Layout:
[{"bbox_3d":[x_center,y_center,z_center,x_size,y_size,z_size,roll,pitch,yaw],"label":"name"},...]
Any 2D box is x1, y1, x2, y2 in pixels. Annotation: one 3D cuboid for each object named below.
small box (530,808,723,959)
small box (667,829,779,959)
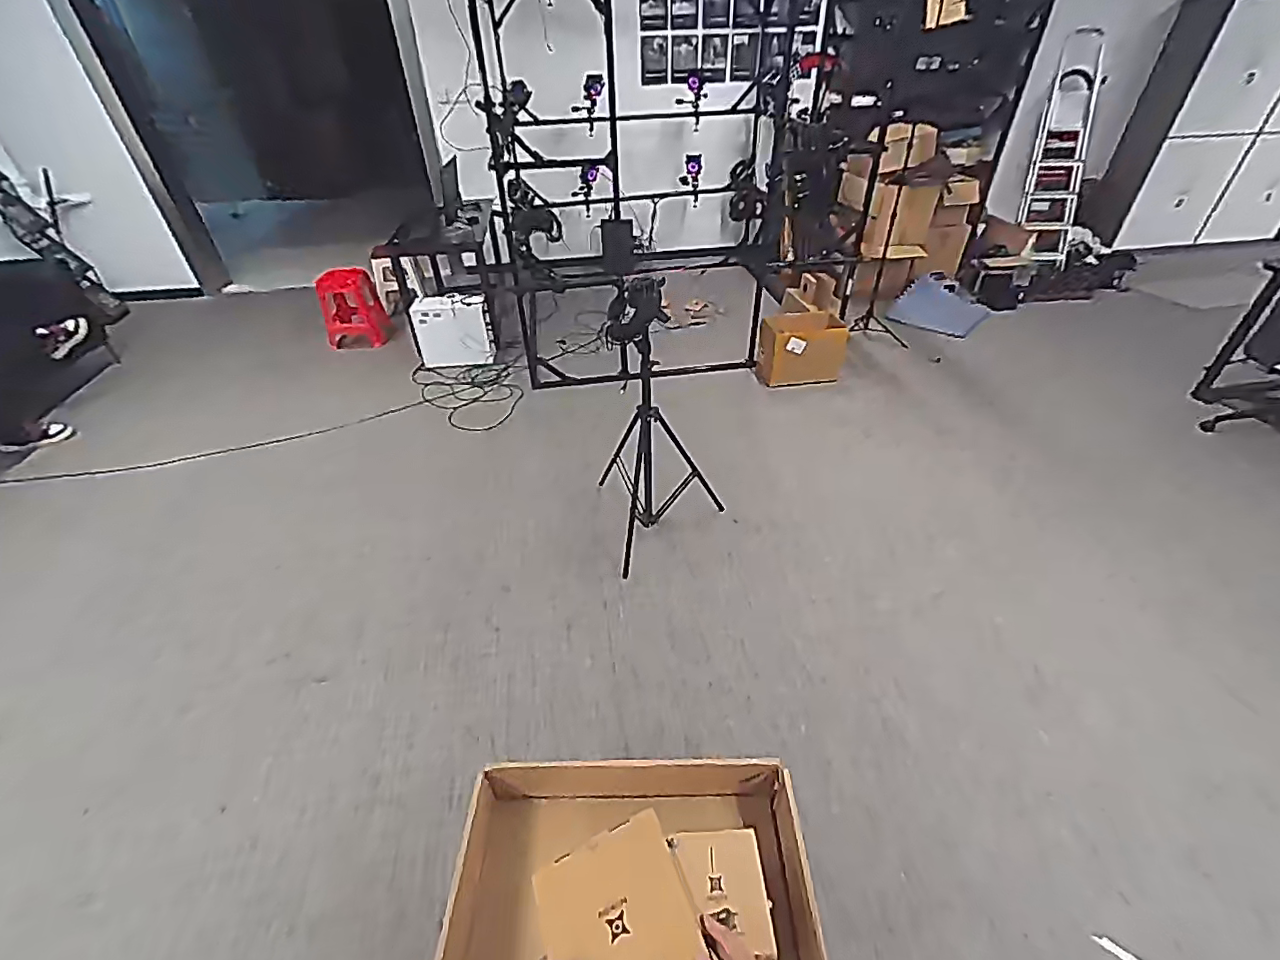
[{"bbox_3d":[-0.008,0.538,0.640,0.168,0.176,0.179,-24,41,-10],"label":"small box"},{"bbox_3d":[0.130,0.731,0.925,0.168,0.176,0.179,-3,37,-1],"label":"small box"}]
